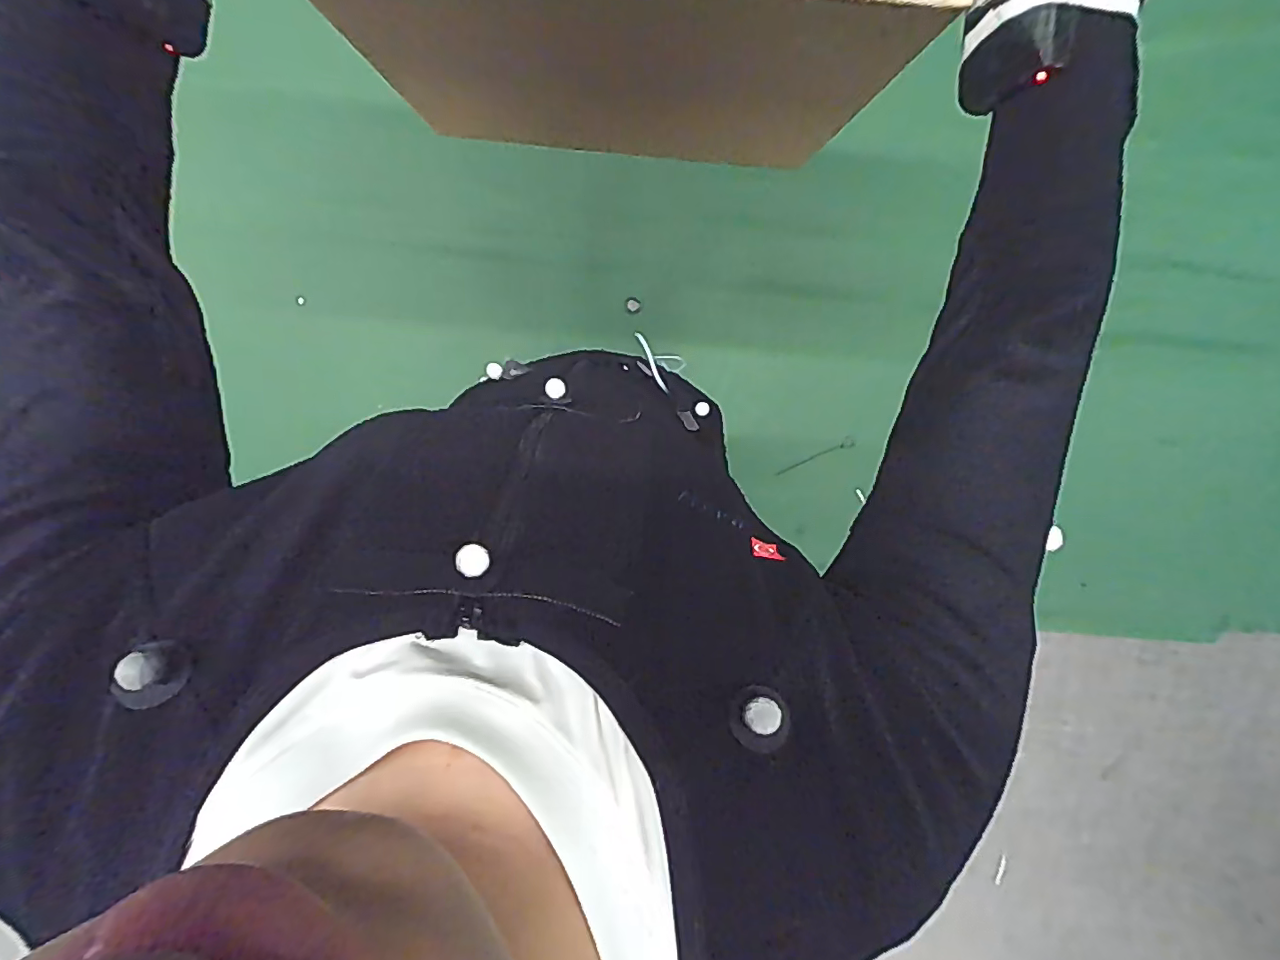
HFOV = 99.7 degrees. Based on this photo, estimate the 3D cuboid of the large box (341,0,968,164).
[{"bbox_3d":[0.001,-0.472,0.416,0.408,0.320,0.320,3,105,-4],"label":"large box"}]
